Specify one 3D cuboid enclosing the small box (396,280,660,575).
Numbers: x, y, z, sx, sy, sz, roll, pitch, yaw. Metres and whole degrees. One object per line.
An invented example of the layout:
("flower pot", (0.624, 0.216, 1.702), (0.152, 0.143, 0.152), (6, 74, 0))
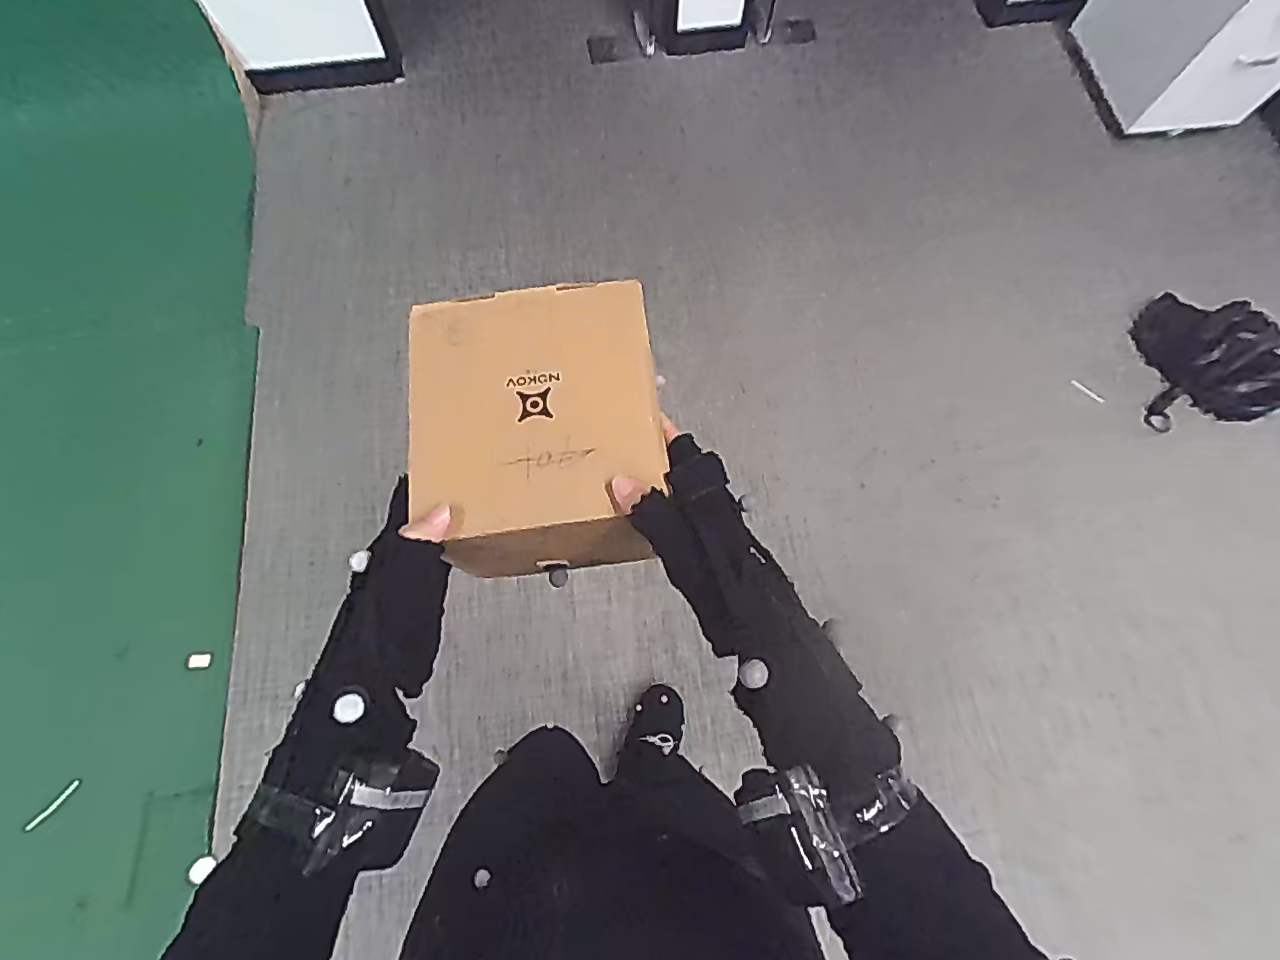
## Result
("small box", (-0.077, -0.029, 0.436), (0.168, 0.176, 0.179), (-7, 72, -1))
